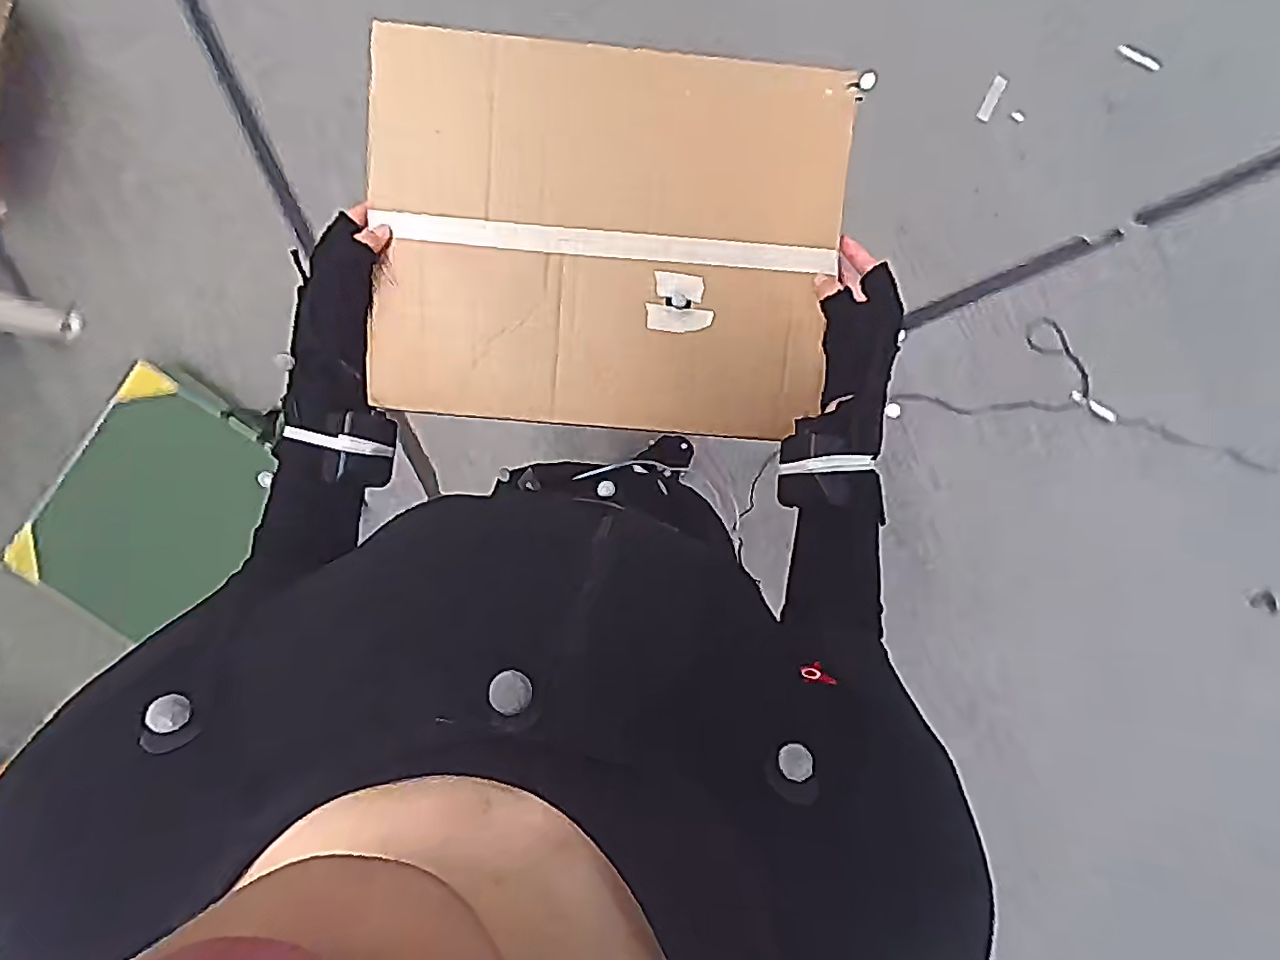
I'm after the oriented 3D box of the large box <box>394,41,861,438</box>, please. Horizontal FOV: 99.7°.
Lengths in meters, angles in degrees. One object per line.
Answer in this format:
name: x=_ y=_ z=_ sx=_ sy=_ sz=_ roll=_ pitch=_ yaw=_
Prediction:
large box: x=-0.022 y=-0.225 z=0.629 sx=0.408 sy=0.320 sz=0.320 roll=5 pitch=98 yaw=-3
